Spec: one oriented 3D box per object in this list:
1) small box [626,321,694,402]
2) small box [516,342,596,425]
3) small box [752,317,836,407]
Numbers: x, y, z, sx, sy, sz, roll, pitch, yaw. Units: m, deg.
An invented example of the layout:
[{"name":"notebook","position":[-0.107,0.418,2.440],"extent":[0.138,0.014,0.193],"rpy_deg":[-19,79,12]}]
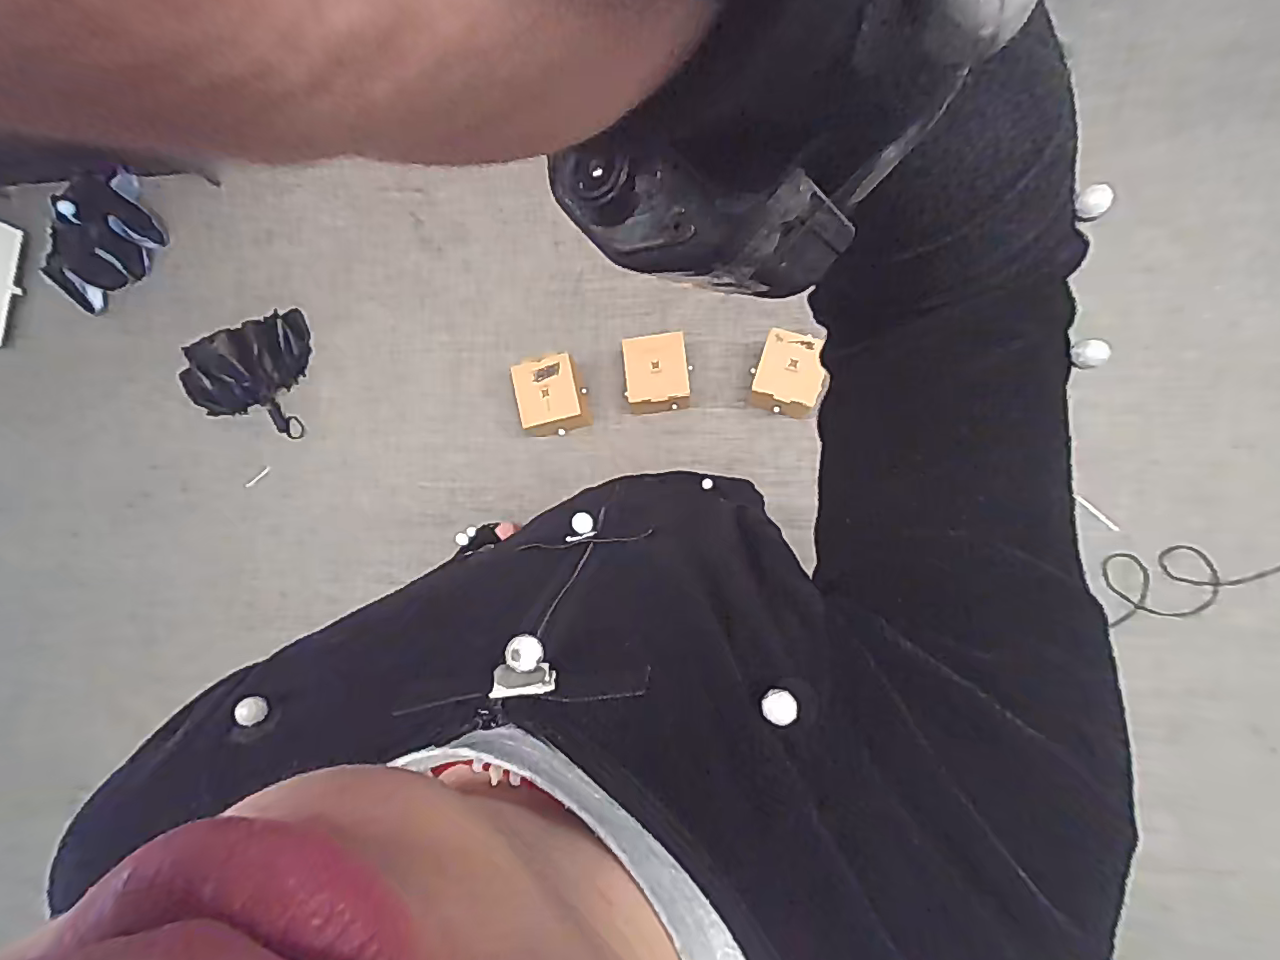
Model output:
[{"name":"small box","position":[0.059,-0.320,1.499],"extent":[0.168,0.176,0.179],"rpy_deg":[-7,85,5]},{"name":"small box","position":[-0.232,-0.267,1.529],"extent":[0.168,0.176,0.179],"rpy_deg":[-13,86,6]},{"name":"small box","position":[0.406,-0.308,1.453],"extent":[0.168,0.176,0.179],"rpy_deg":[19,90,8]}]
